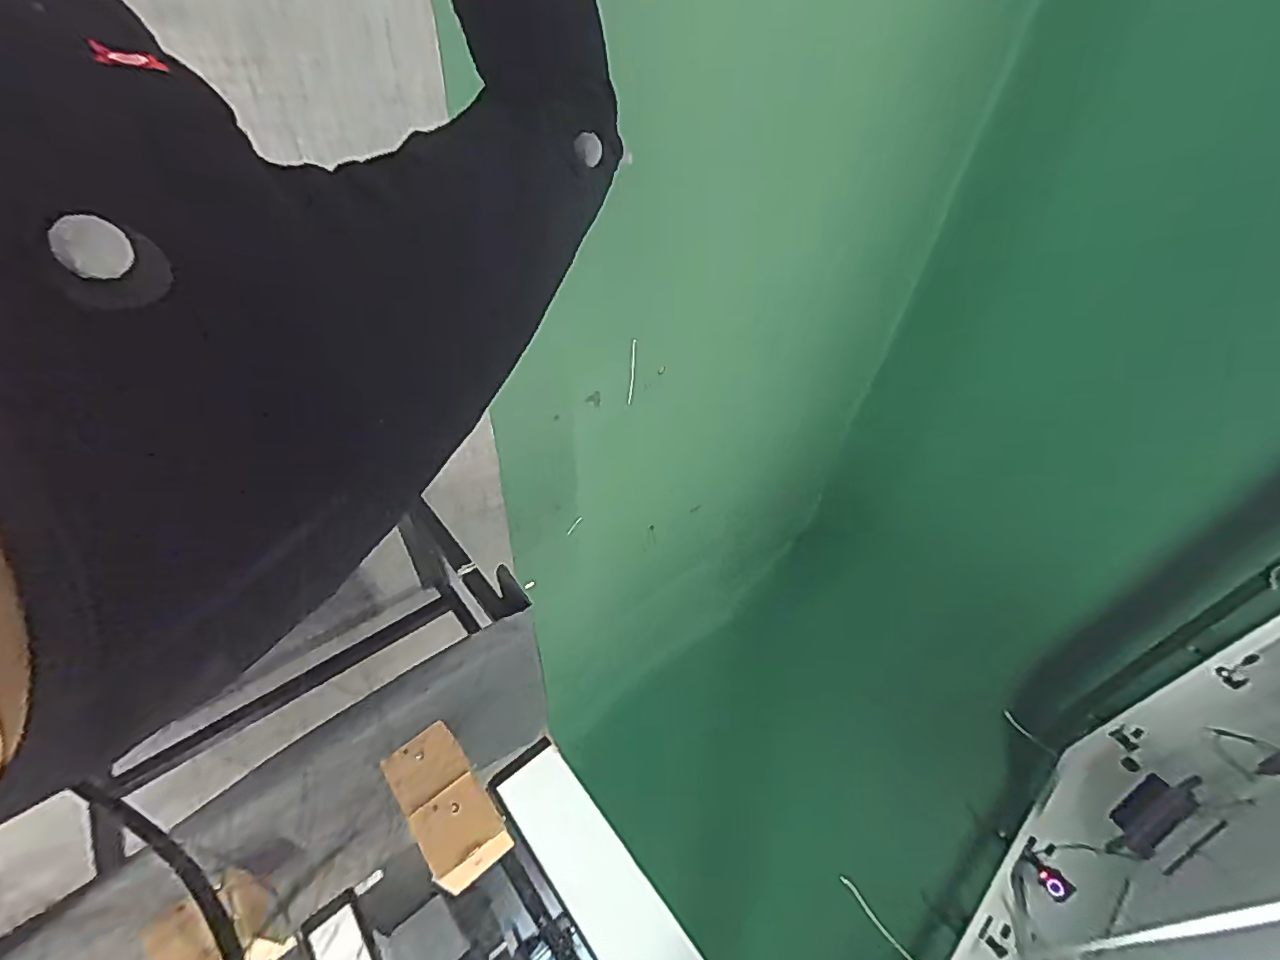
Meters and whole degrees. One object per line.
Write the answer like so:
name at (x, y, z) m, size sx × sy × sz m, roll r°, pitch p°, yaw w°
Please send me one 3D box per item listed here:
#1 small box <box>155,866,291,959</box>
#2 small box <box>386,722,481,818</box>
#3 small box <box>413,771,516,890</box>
small box at (-0.910, 0.992, 1.182) m, size 0.168 × 0.176 × 0.179 m, roll -30°, pitch 144°, yaw -29°
small box at (-0.533, 0.772, 1.419) m, size 0.168 × 0.176 × 0.179 m, roll -33°, pitch 145°, yaw -27°
small box at (-0.428, 0.857, 1.328) m, size 0.168 × 0.176 × 0.179 m, roll -31°, pitch 144°, yaw -27°
